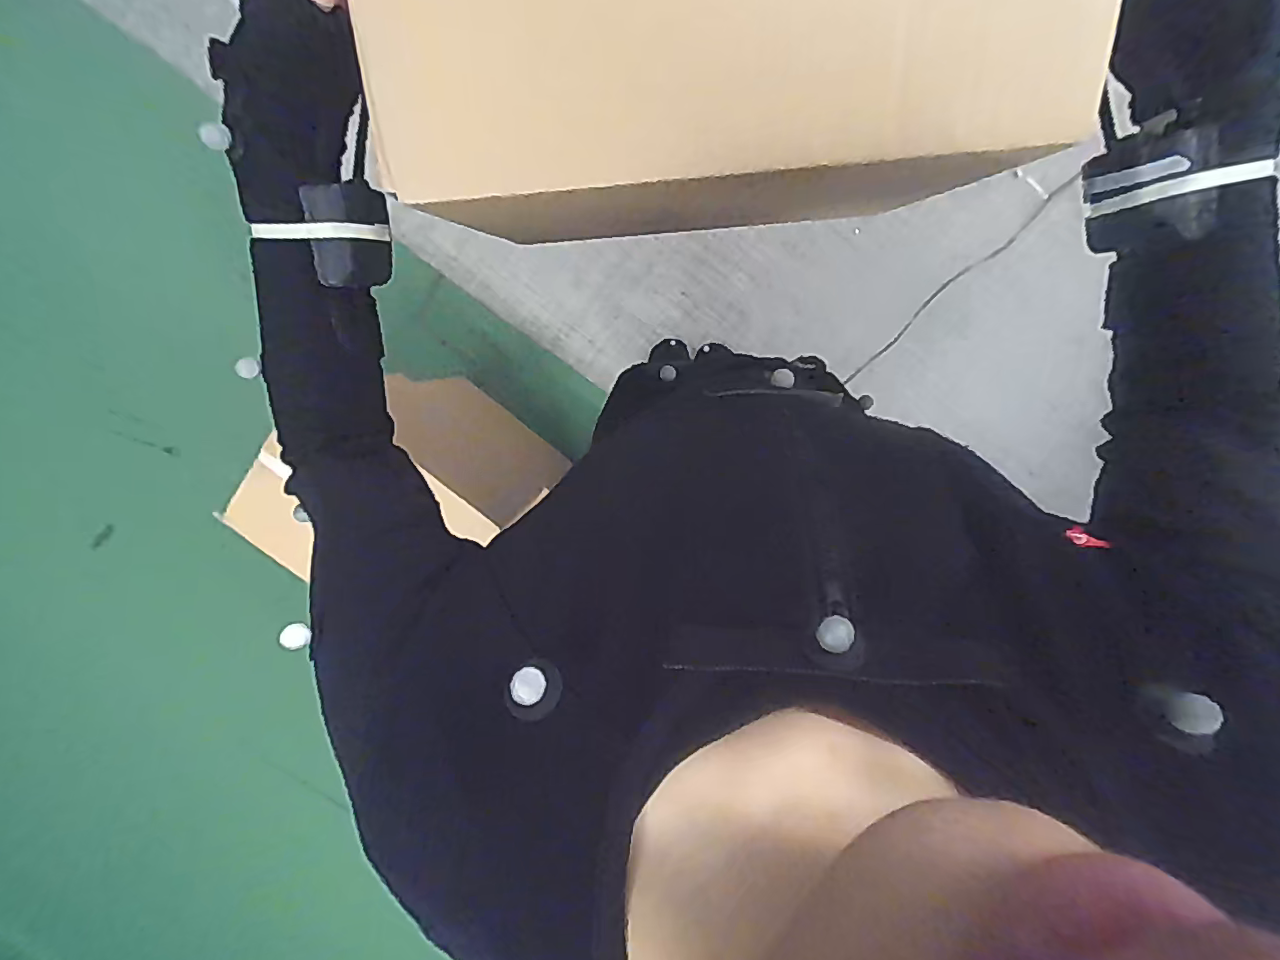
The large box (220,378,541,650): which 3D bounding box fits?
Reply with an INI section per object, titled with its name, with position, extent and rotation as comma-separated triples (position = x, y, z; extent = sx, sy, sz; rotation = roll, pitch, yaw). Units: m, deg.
[large box]
position = -0.471, 0.043, 1.065
extent = 0.408, 0.320, 0.320
rotation = 38, 101, -4
